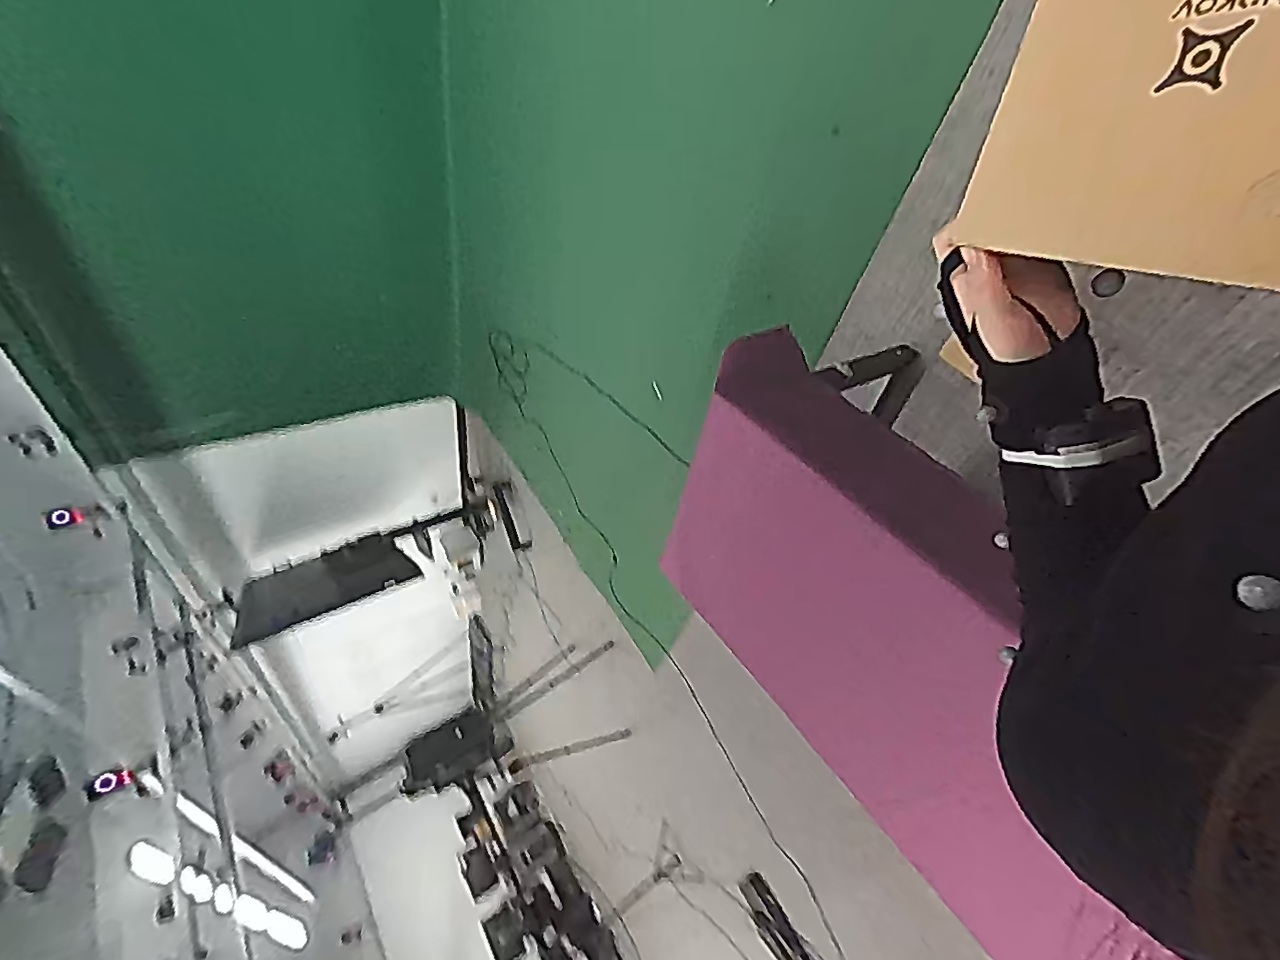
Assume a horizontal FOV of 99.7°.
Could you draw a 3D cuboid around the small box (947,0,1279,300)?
[{"bbox_3d":[0.311,-0.196,0.277,0.168,0.176,0.179,47,135,48],"label":"small box"}]
